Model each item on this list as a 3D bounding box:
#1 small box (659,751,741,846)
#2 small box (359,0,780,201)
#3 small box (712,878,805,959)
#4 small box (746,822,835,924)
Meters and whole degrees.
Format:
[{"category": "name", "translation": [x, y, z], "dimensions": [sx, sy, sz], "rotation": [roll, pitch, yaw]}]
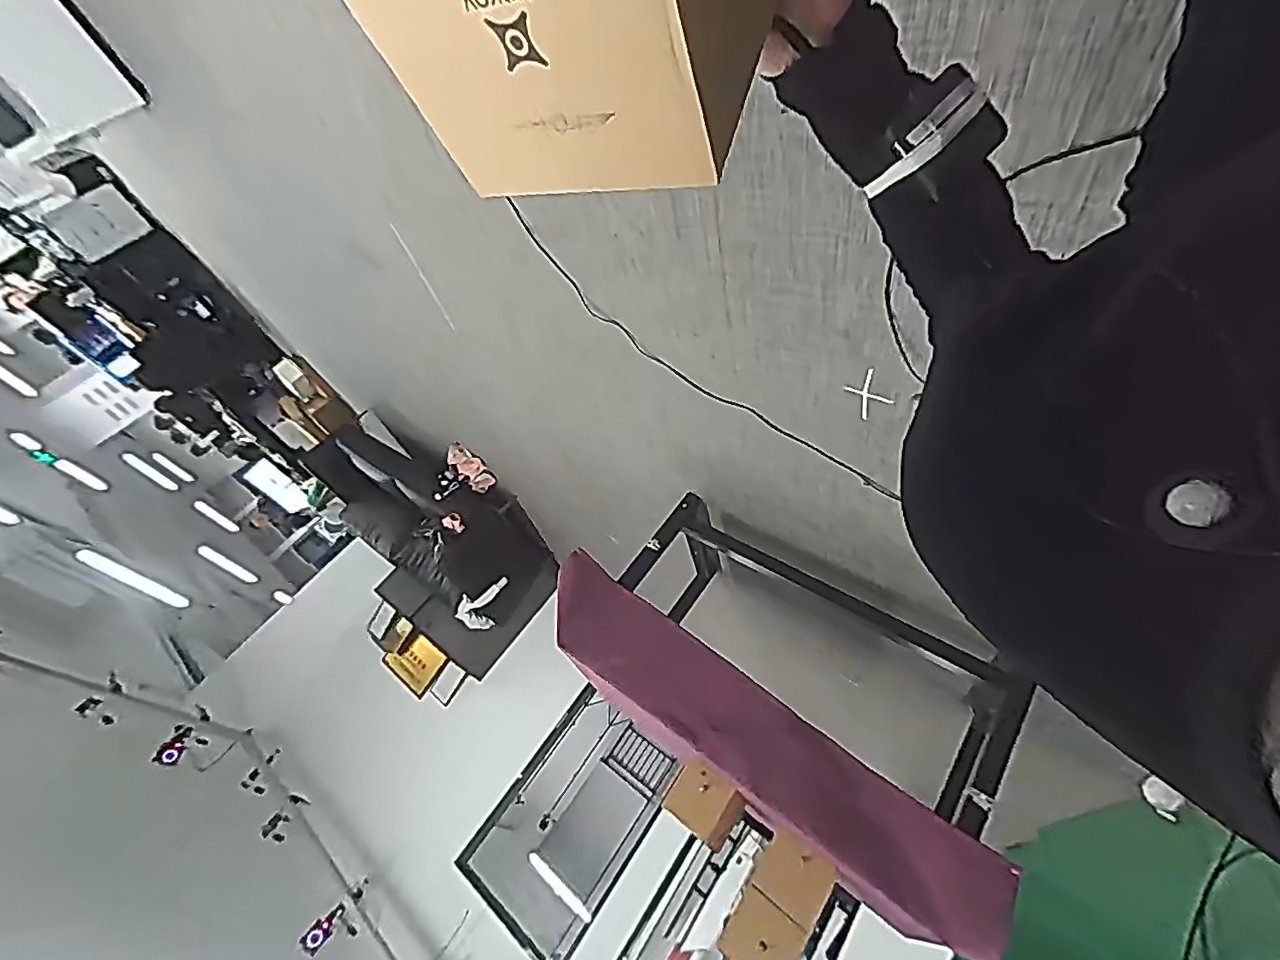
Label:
[{"category": "small box", "translation": [0.192, 0.978, 1.667], "dimensions": [0.168, 0.176, 0.179], "rotation": [21, 150, 38]}, {"category": "small box", "translation": [-0.028, -0.281, 0.281], "dimensions": [0.168, 0.176, 0.179], "rotation": [11, 163, 23]}, {"category": "small box", "translation": [0.319, 1.200, 1.441], "dimensions": [0.179, 0.176, 0.168], "rotation": [24, 152, 33]}, {"category": "small box", "translation": [0.419, 1.085, 1.503], "dimensions": [0.179, 0.176, 0.168], "rotation": [25, 153, 33]}]
